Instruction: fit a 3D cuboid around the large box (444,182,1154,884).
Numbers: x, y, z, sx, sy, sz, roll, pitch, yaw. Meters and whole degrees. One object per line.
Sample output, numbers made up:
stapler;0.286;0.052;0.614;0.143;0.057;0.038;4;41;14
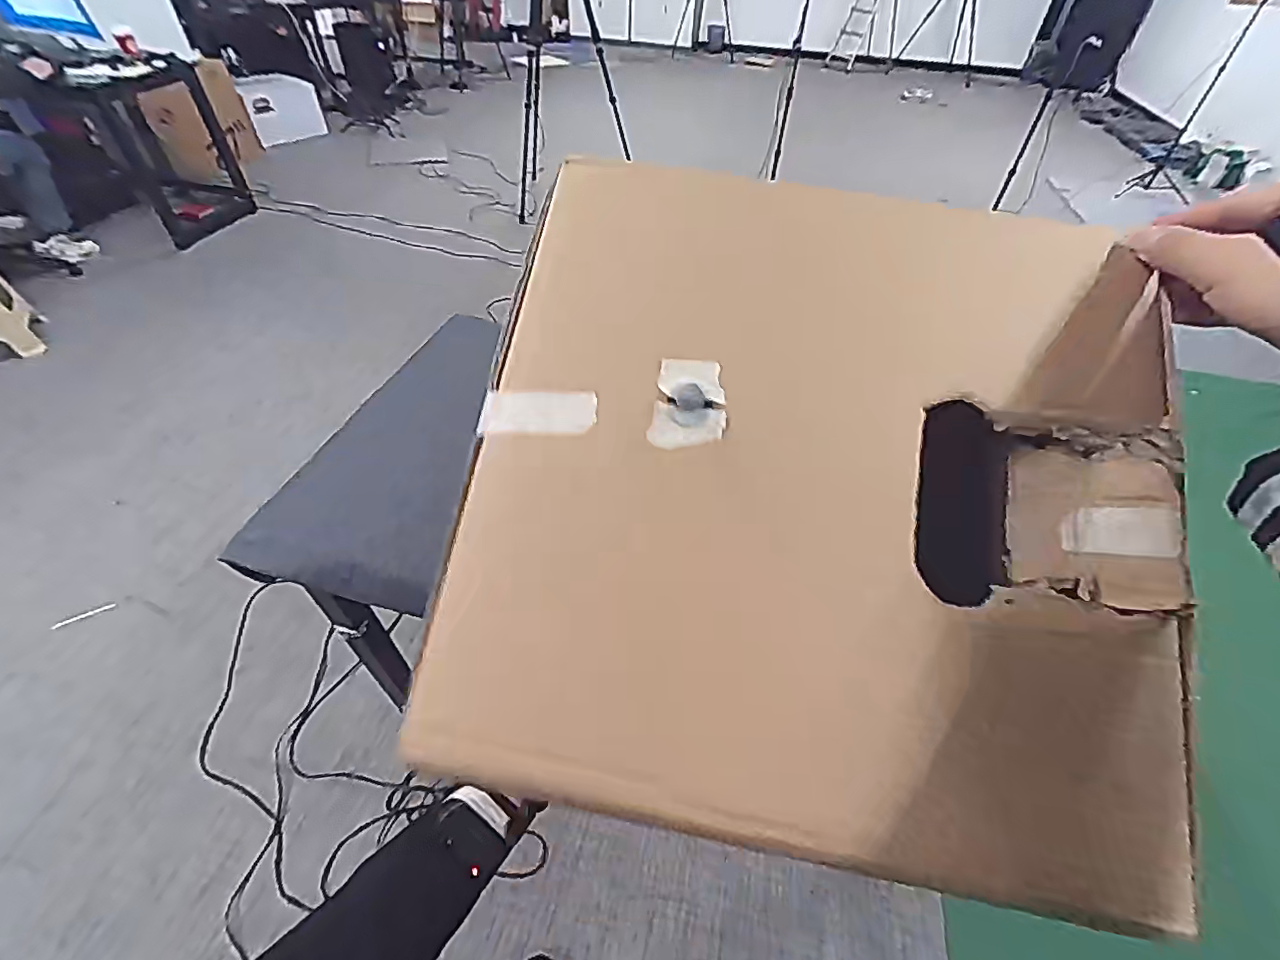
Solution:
large box;0.080;0.043;0.447;0.320;0.408;0.320;10;76;2
